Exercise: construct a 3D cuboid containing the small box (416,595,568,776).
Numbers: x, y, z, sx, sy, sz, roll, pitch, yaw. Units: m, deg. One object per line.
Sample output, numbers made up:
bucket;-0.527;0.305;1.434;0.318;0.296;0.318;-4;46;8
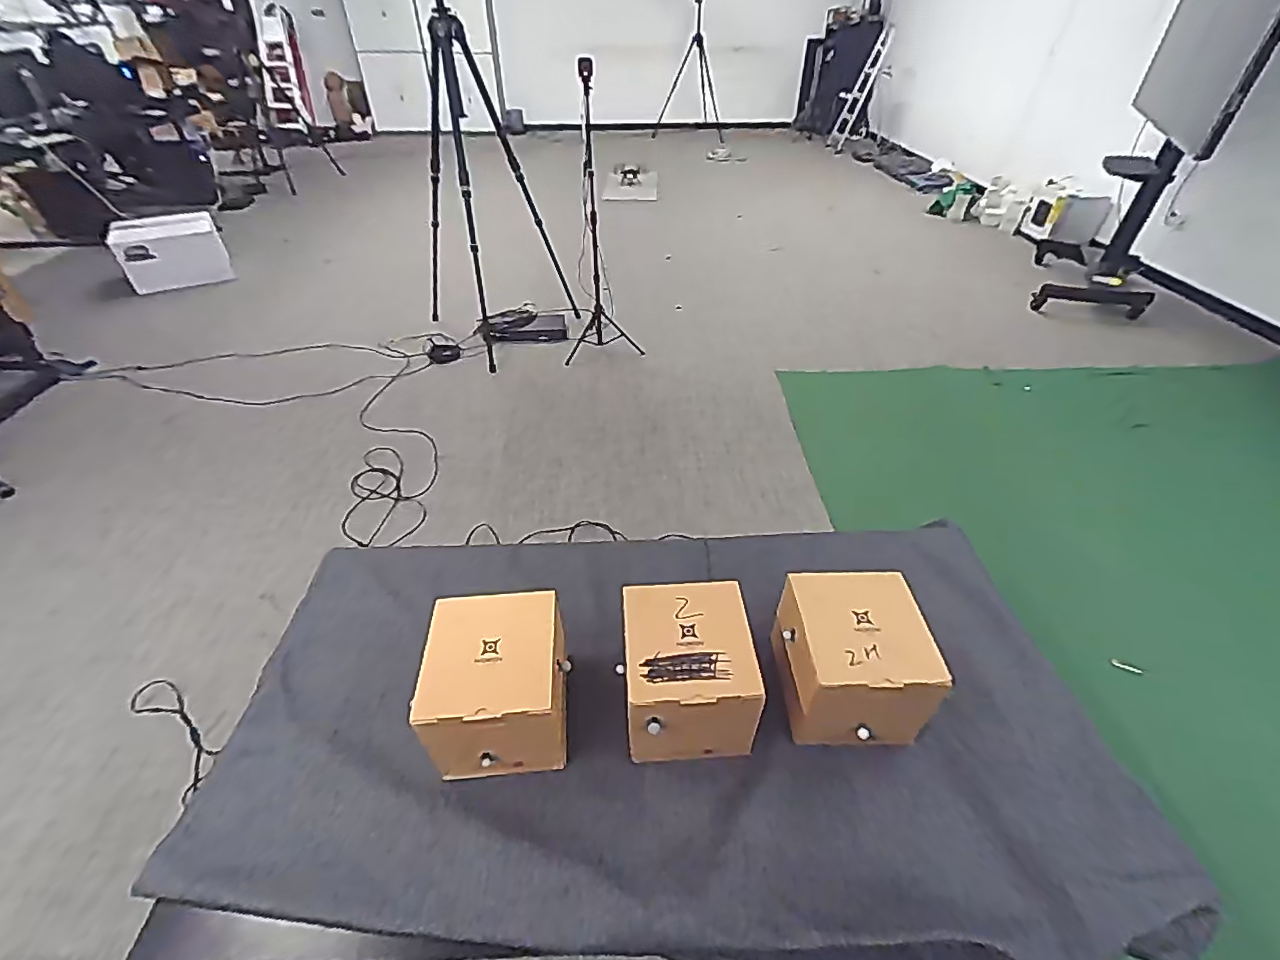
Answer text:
small box;-0.191;0.283;0.752;0.168;0.176;0.179;-3;42;-4
